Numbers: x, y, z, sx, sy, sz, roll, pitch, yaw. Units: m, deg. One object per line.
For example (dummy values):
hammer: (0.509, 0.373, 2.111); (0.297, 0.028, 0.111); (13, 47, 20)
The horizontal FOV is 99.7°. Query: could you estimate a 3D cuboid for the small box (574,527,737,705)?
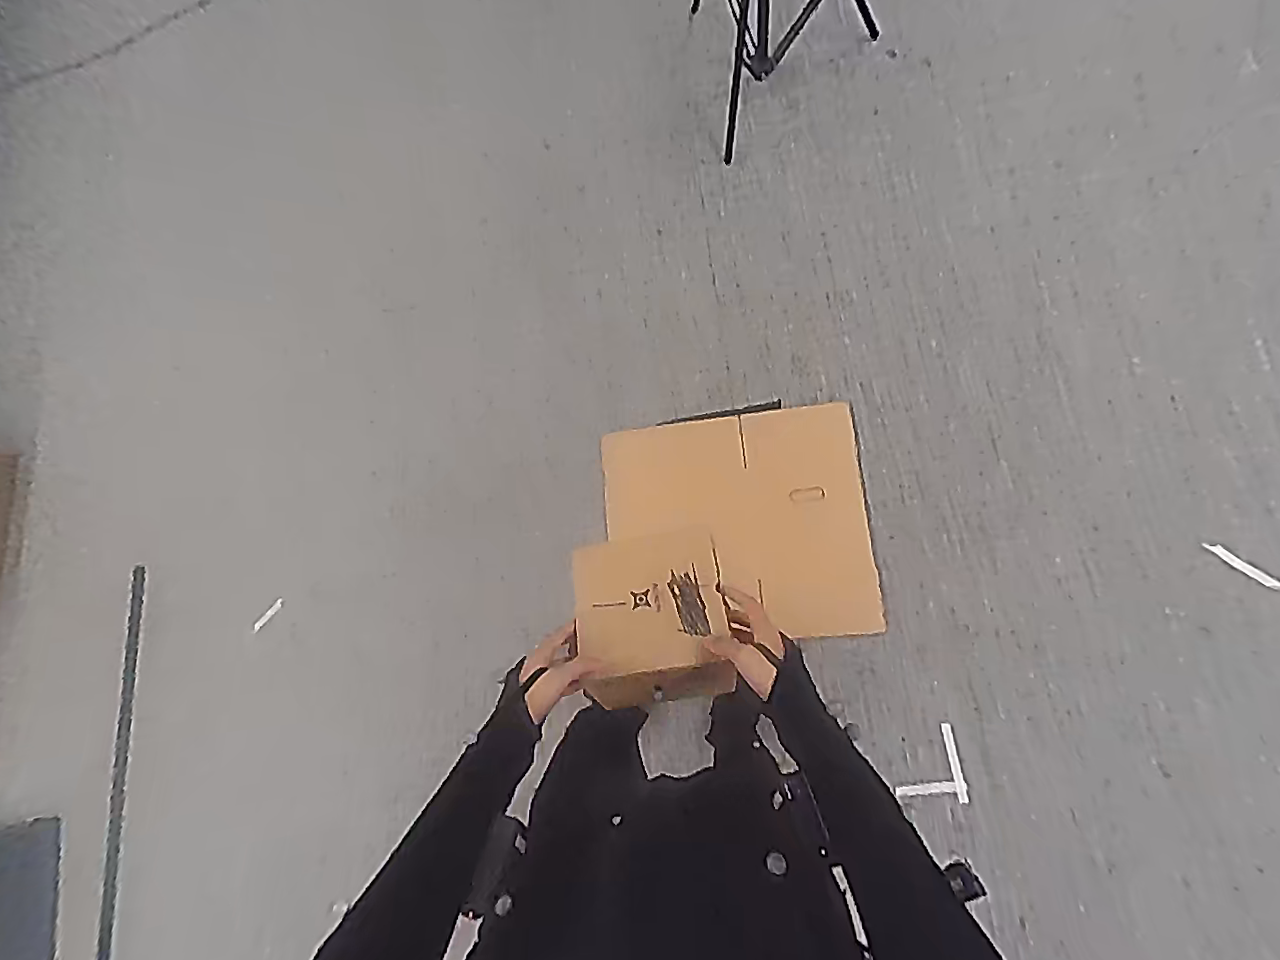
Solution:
small box: (0.021, 0.180, 0.698); (0.179, 0.176, 0.168); (-10, 56, 3)
